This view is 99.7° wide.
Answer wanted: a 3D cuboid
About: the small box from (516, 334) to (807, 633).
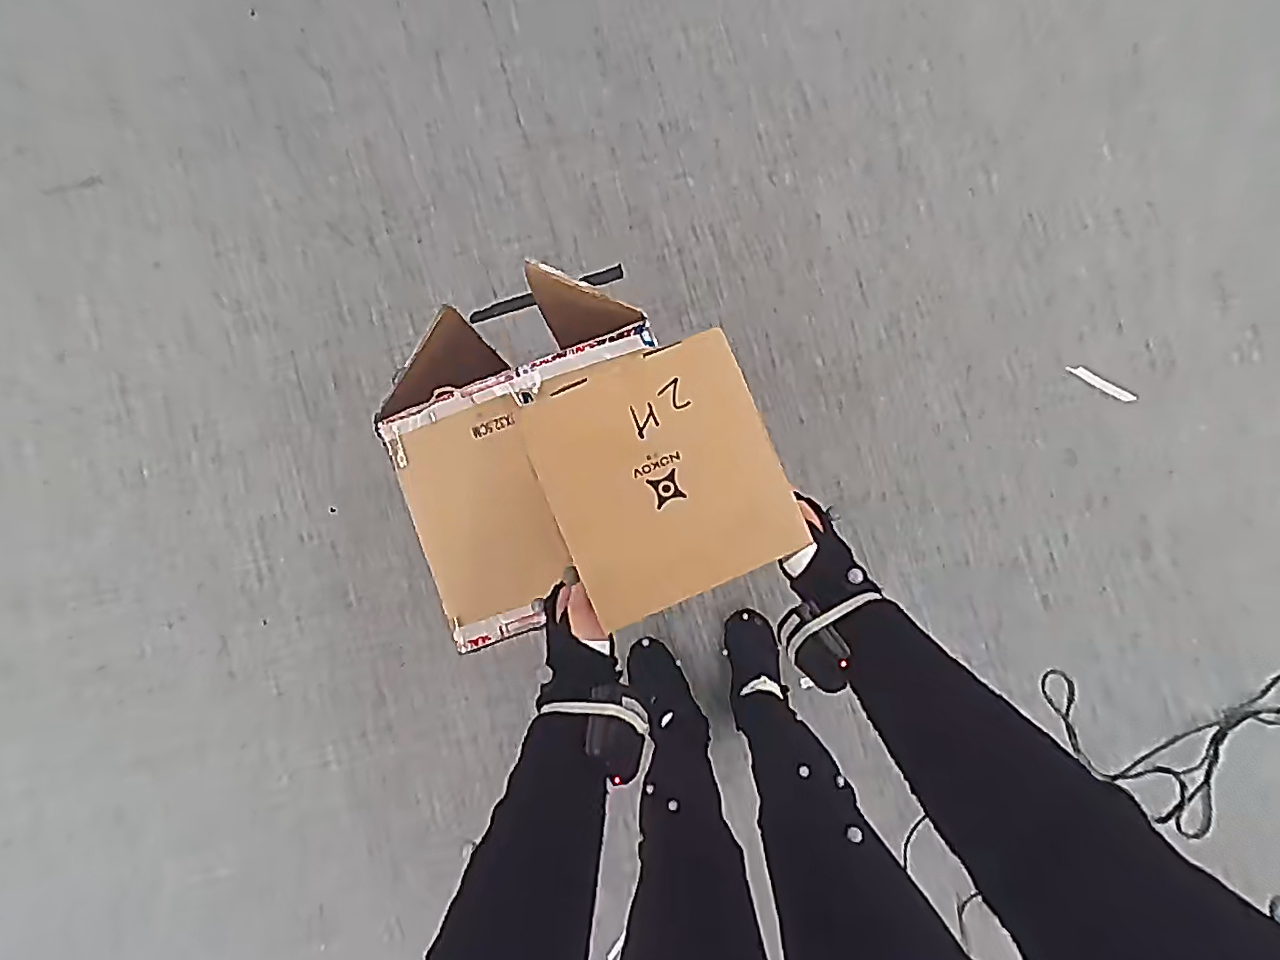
[{"bbox_3d":[0.014,0.004,0.471,0.168,0.176,0.179,-23,88,-3],"label":"small box"}]
